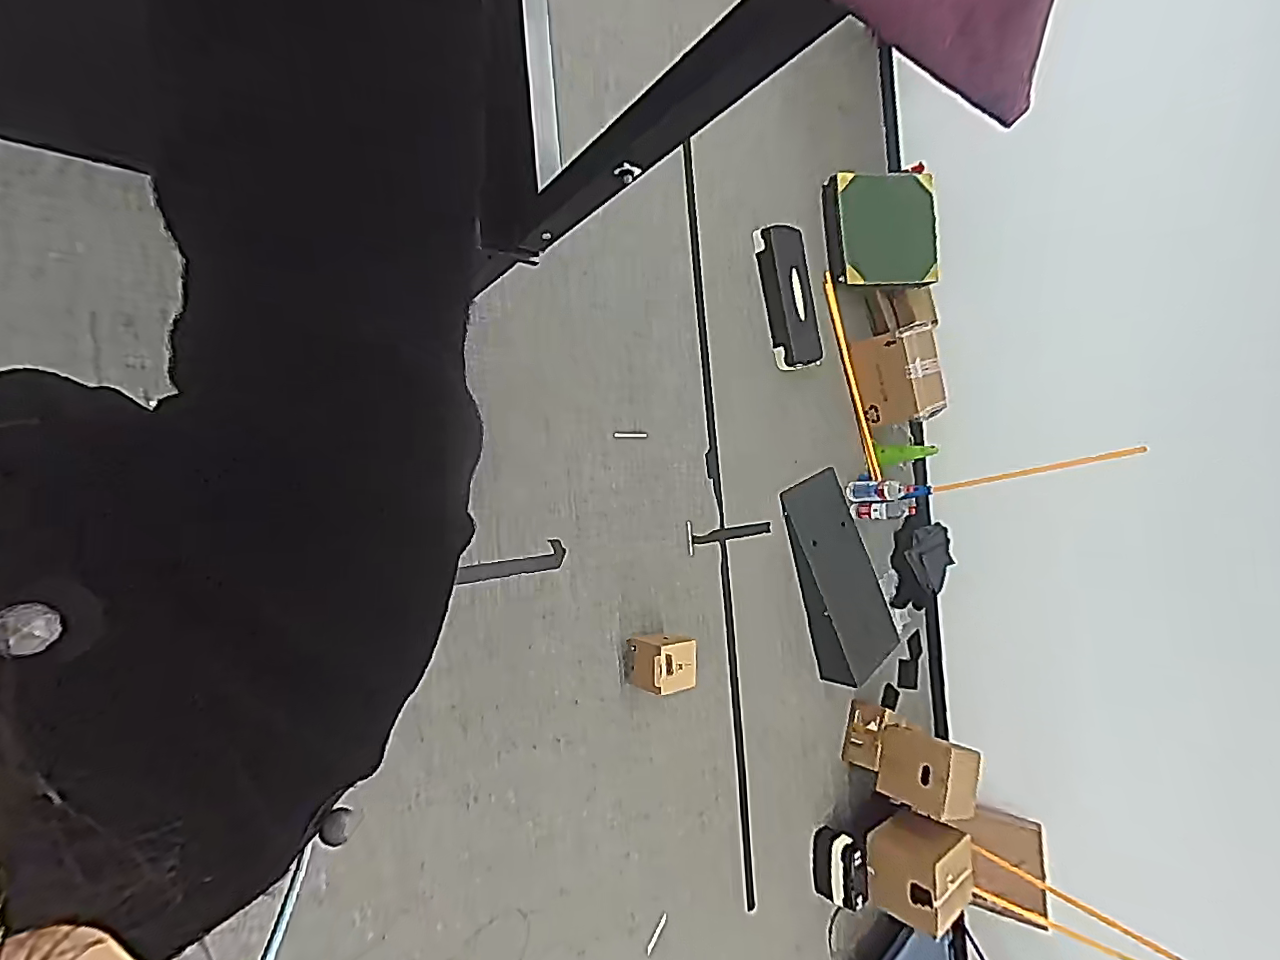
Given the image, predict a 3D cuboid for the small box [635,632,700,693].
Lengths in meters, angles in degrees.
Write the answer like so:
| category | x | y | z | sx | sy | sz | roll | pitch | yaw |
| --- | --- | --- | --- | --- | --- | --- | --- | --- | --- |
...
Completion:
| category | x | y | z | sx | sy | sz | roll | pitch | yaw |
| --- | --- | --- | --- | --- | --- | --- | --- | --- | --- |
| small box | 0.095 | 0.642 | 1.922 | 0.179 | 0.176 | 0.168 | 4 | 85 | -41 |
